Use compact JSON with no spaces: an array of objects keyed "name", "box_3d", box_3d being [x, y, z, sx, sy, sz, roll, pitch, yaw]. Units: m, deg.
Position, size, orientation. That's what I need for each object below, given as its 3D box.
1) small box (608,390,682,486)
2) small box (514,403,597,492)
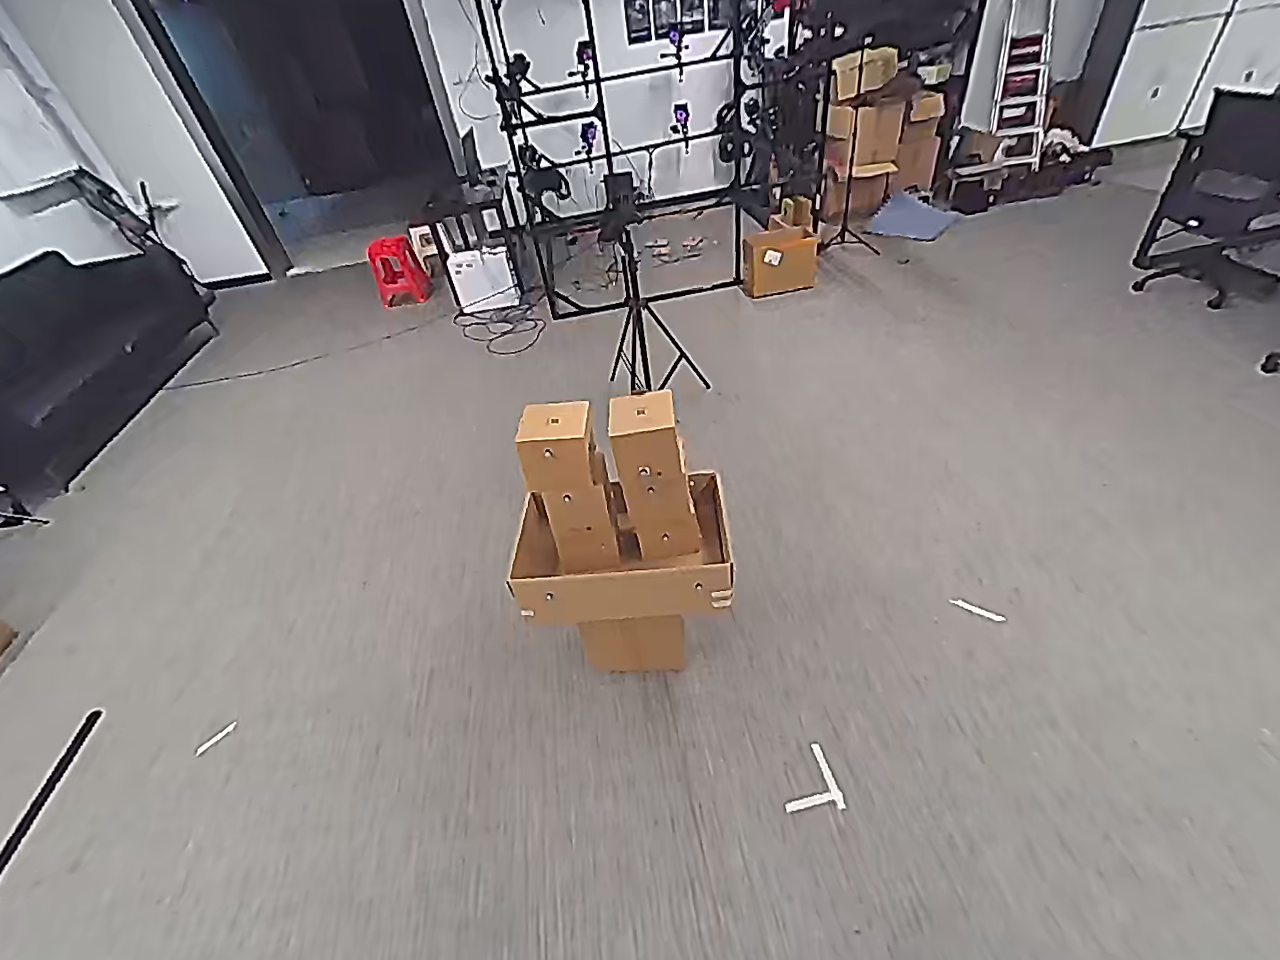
[{"name":"small box","box_3d":[0.015,-0.109,1.403,0.168,0.176,0.179,-9,40,5]},{"name":"small box","box_3d":[-0.213,-0.084,1.422,0.179,0.176,0.168,-4,40,4]}]
